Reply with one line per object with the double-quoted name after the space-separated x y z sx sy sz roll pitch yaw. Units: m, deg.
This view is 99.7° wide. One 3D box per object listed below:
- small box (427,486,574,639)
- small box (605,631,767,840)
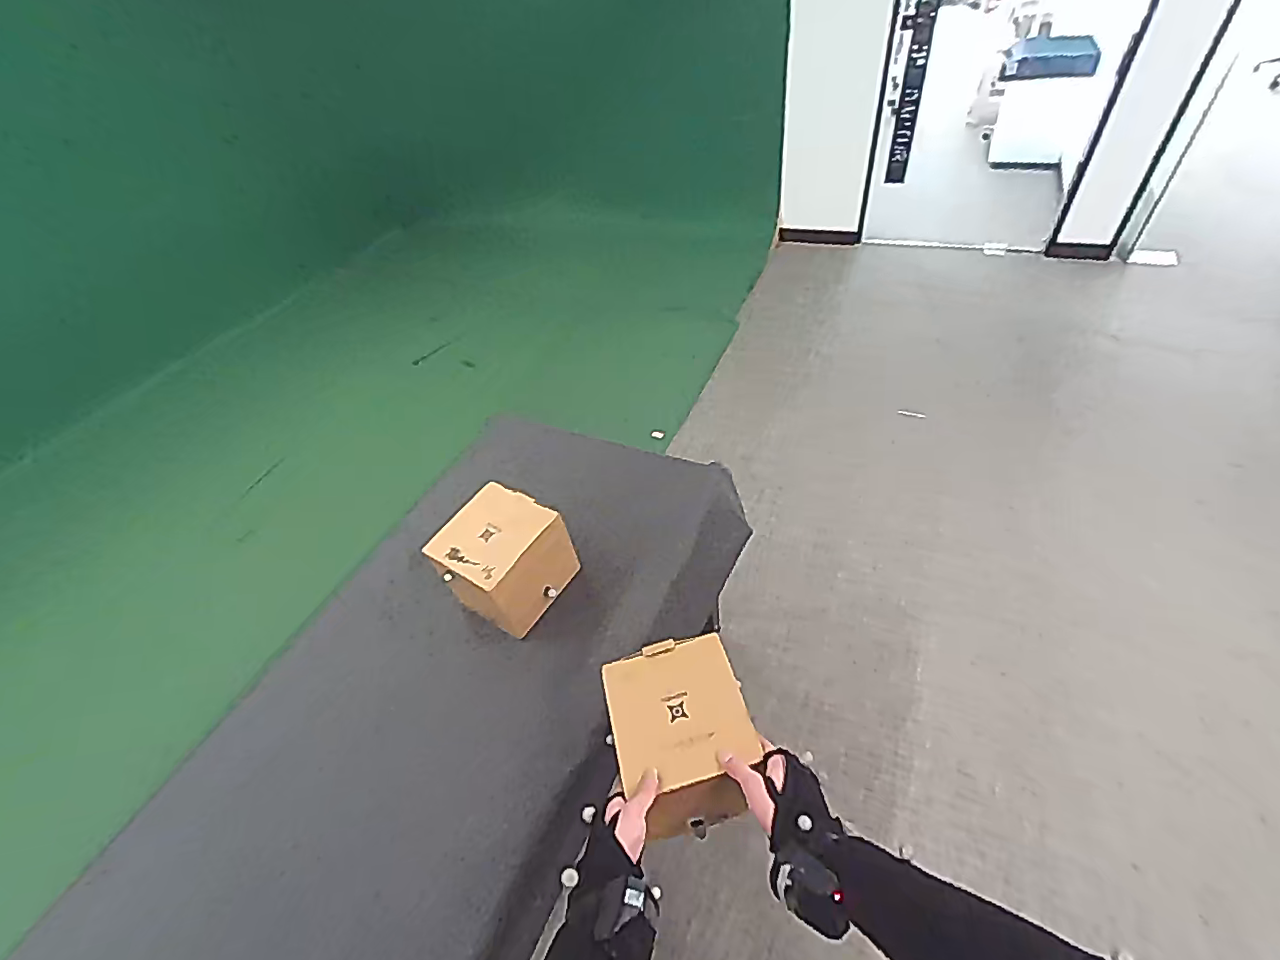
-0.236 0.147 0.967 0.168 0.176 0.179 22 55 27 "small box"
0.058 0.332 0.705 0.168 0.176 0.179 -14 41 -1 "small box"
